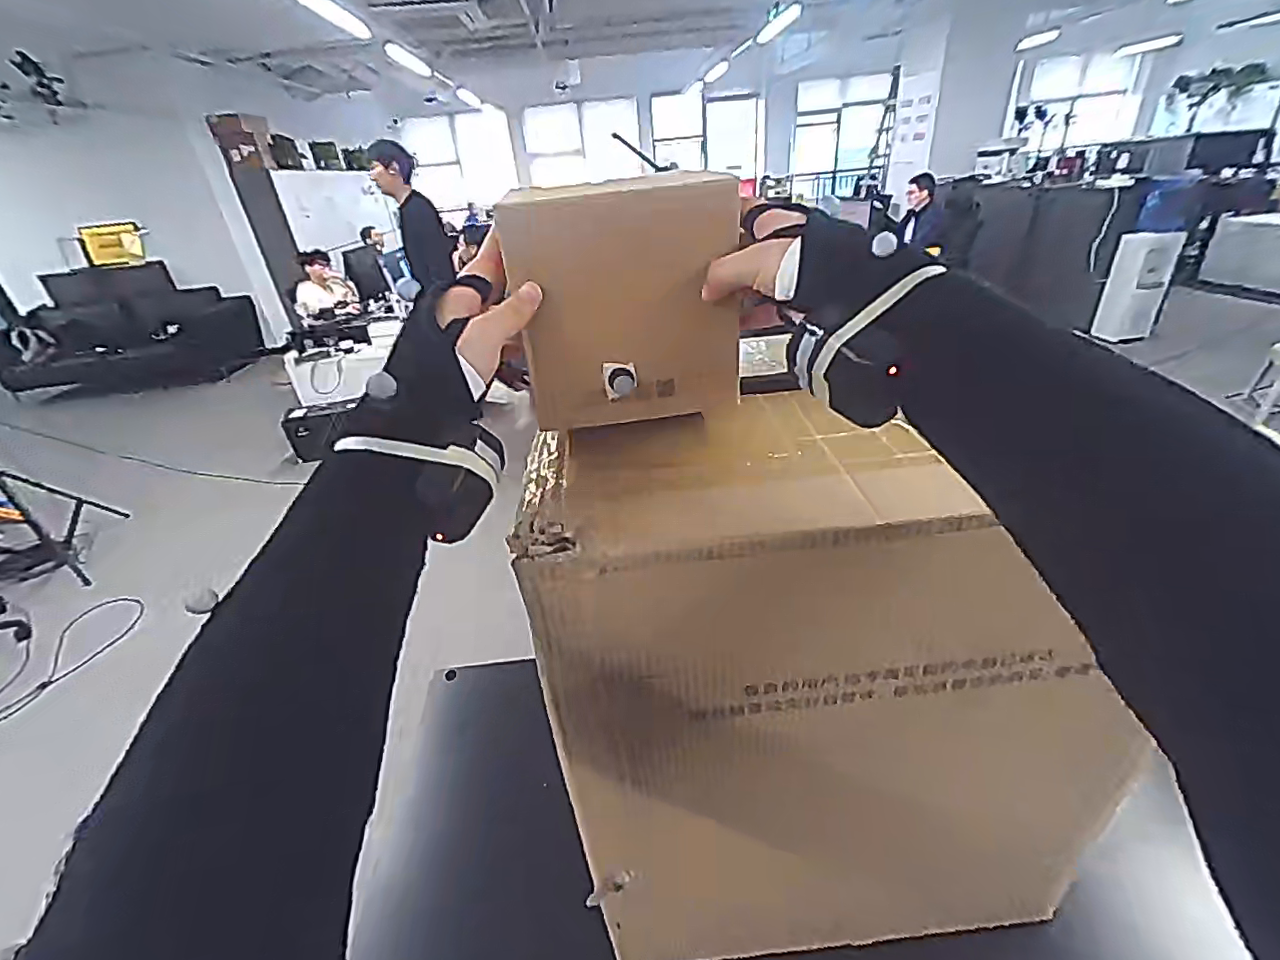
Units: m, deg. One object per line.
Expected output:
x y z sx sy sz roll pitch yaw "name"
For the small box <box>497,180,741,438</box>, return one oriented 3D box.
-0.017 -0.154 0.469 0.168 0.176 0.179 -10 32 -4 "small box"
